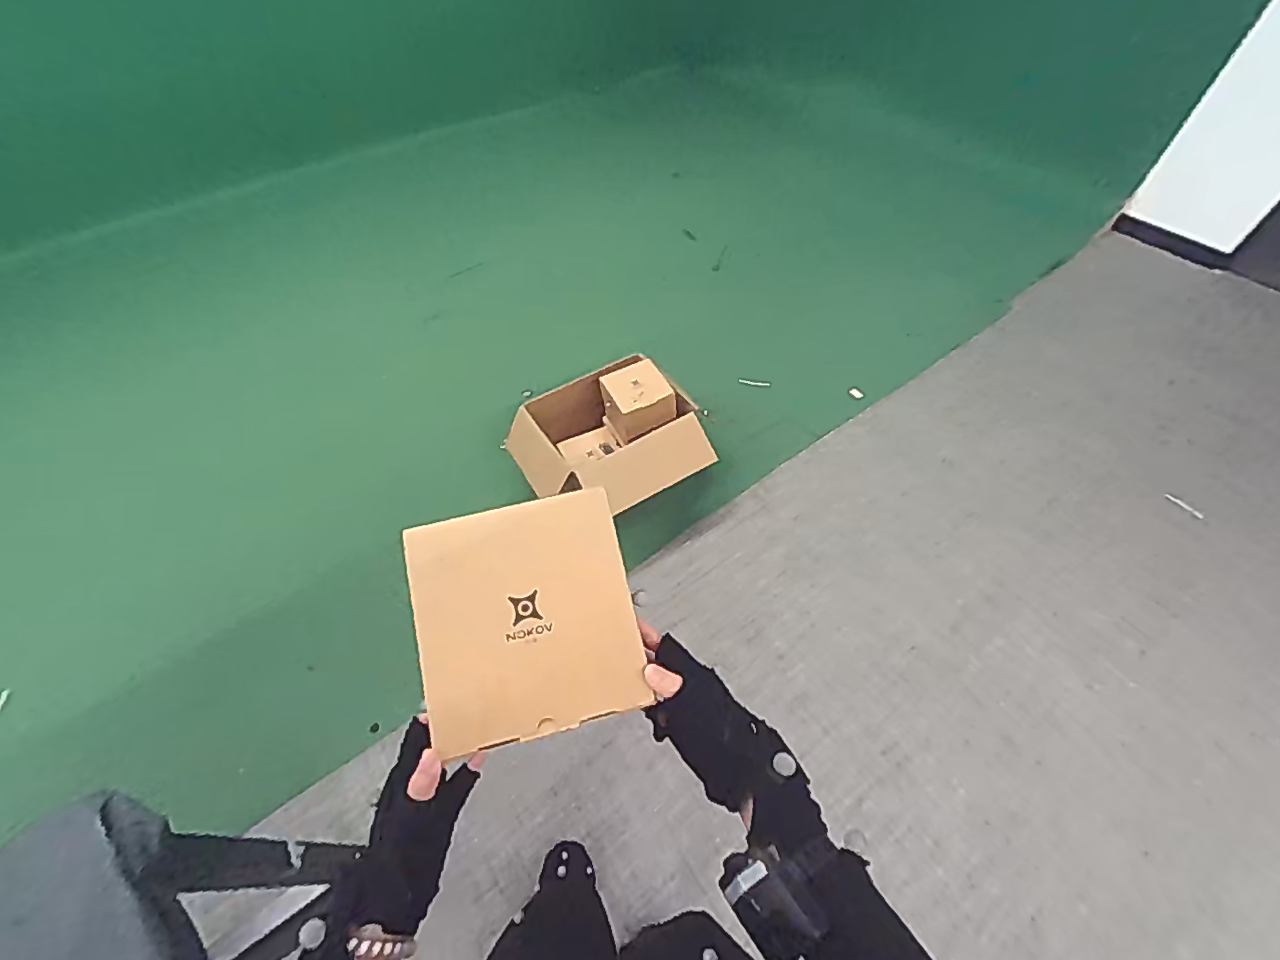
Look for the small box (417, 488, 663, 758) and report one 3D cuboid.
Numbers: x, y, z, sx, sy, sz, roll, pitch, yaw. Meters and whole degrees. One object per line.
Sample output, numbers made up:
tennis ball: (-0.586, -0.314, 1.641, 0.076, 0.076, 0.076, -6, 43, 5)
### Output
small box: (-0.086, 0.124, 0.494, 0.168, 0.176, 0.179, -12, 77, -8)
